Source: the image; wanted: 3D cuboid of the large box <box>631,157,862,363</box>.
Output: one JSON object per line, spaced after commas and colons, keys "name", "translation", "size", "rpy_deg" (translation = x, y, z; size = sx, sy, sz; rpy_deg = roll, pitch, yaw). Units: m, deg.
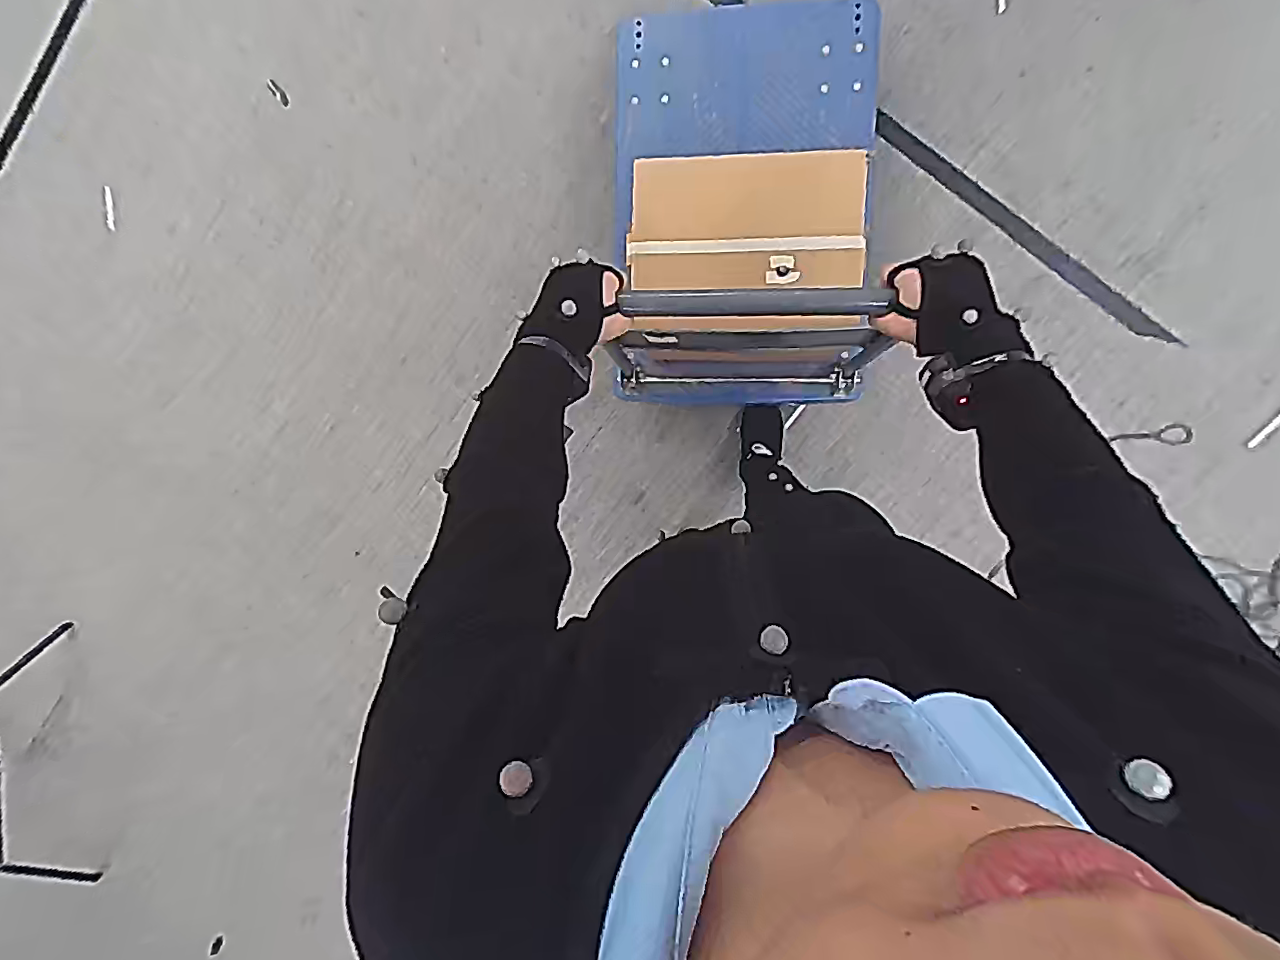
{"name": "large box", "translation": [0.197, -0.418, 1.107], "size": [0.408, 0.320, 0.320], "rpy_deg": [2, 95, 6]}
